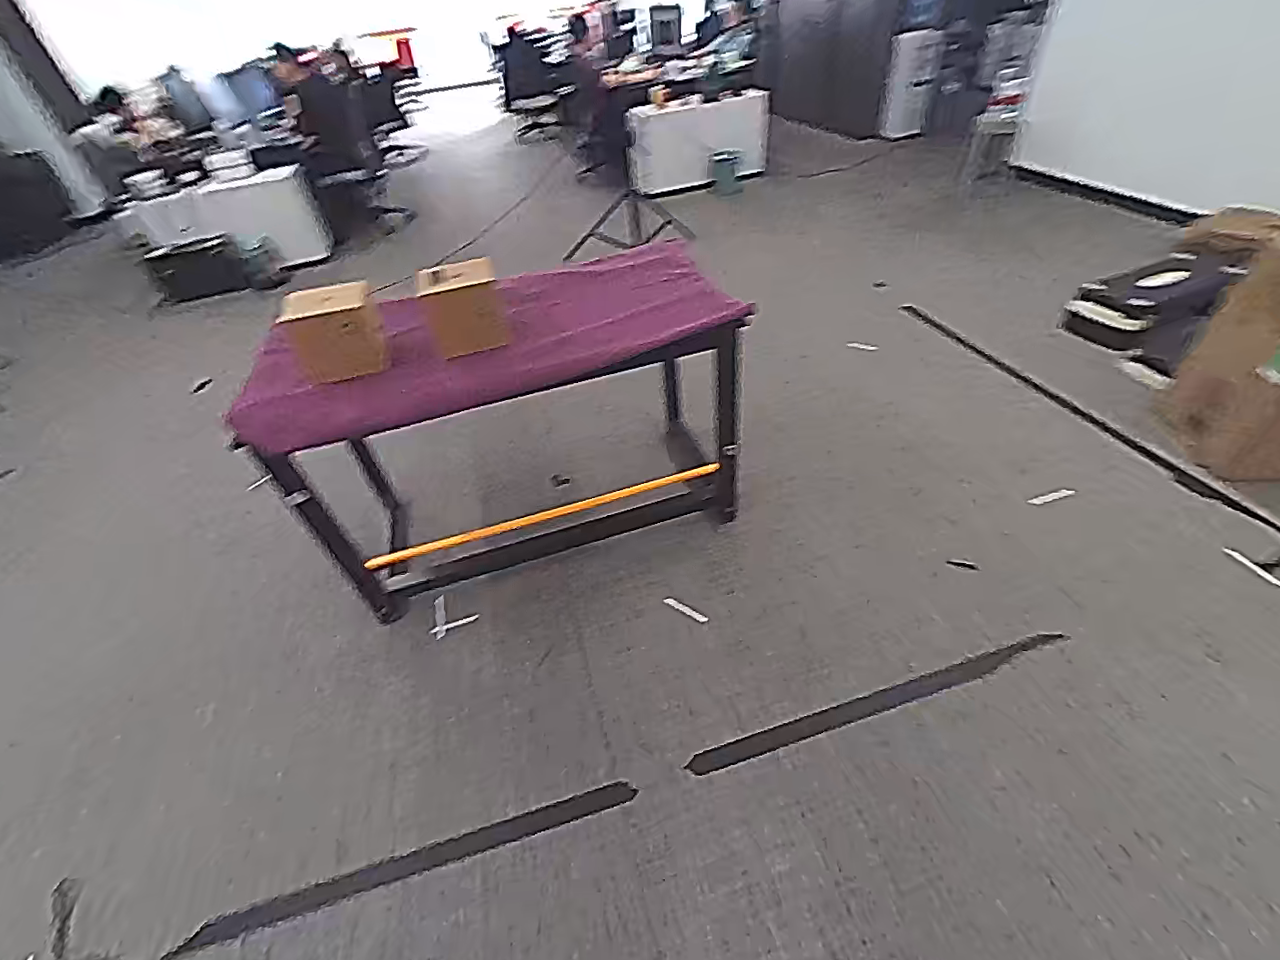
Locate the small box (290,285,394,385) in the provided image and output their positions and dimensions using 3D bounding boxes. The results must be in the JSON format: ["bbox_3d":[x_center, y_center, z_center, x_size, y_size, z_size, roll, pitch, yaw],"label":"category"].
[{"bbox_3d":[-0.717,-0.355,1.326,0.179,0.176,0.168,-15,42,-12],"label":"small box"}]
